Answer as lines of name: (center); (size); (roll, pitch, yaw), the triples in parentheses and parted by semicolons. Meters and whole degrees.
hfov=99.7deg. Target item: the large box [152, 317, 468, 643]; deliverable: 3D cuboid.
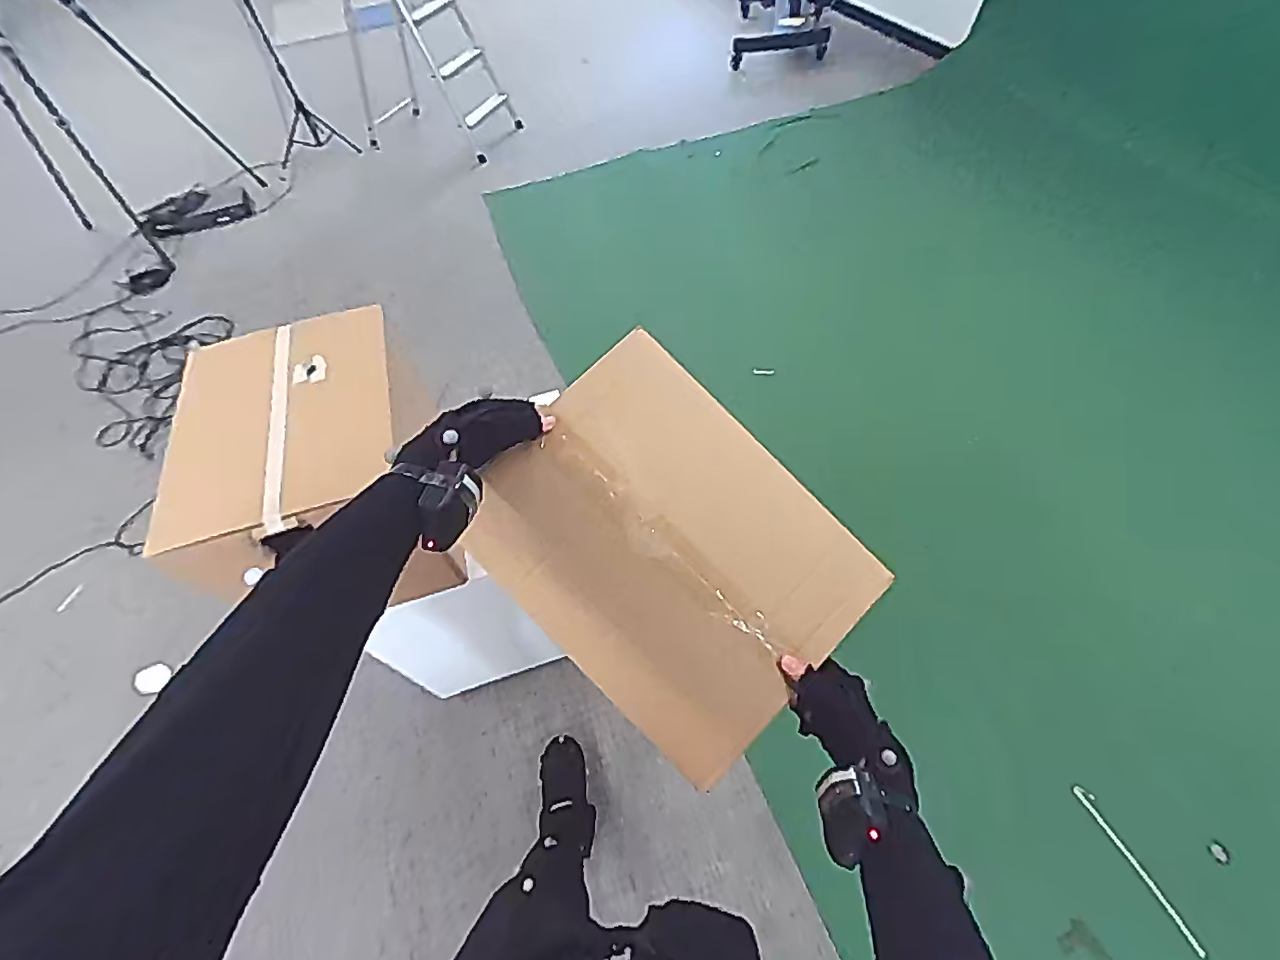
large box: (-0.518, -0.001, 0.923); (0.320, 0.320, 0.408); (-17, 55, -8)
